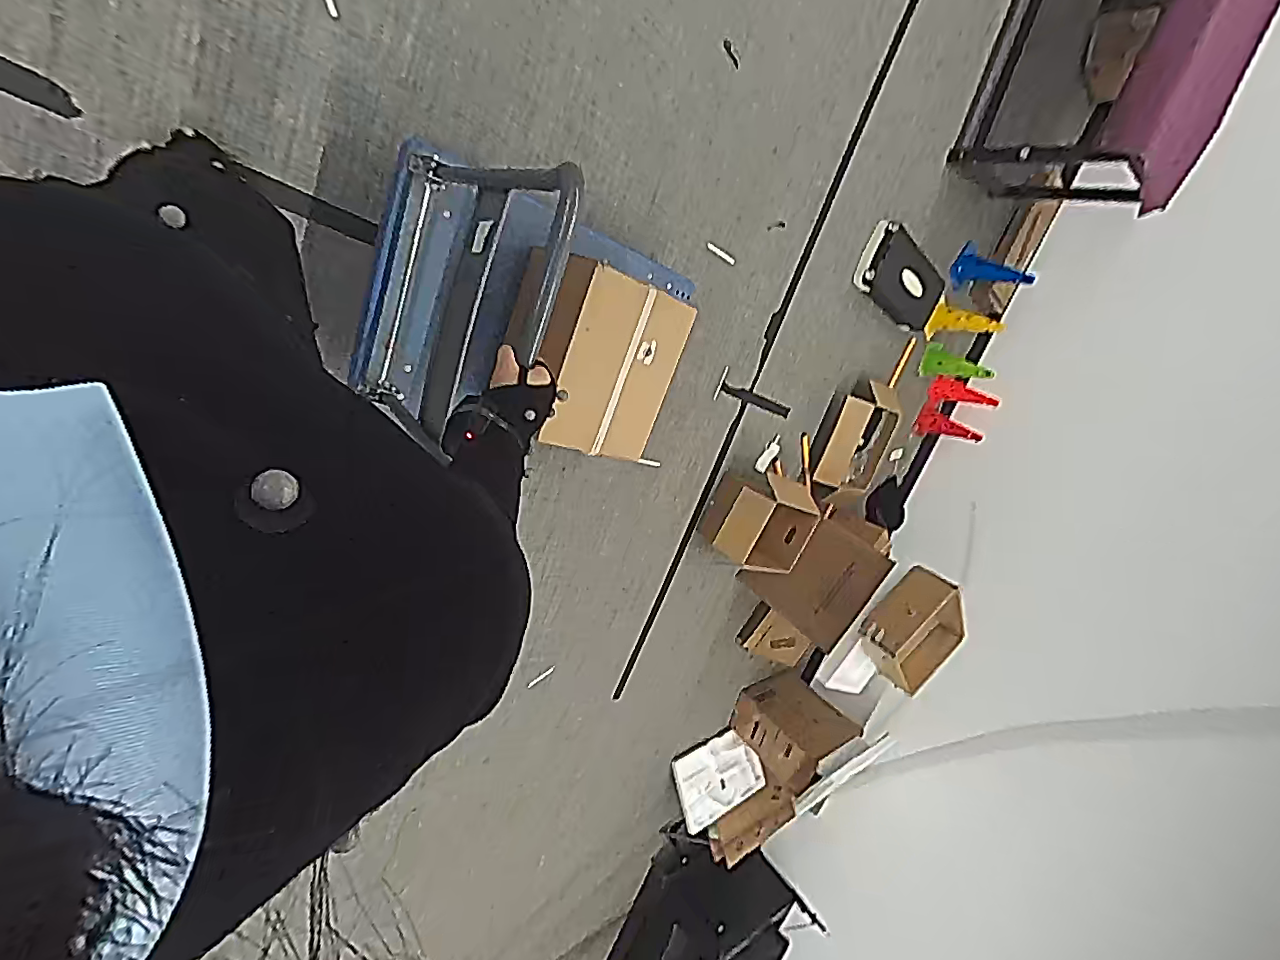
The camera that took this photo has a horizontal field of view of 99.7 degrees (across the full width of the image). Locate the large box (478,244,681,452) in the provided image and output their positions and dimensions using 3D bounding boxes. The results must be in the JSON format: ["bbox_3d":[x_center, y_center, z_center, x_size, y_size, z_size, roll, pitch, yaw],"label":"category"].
[{"bbox_3d":[-0.163,-0.325,1.358,0.320,0.320,0.408,9,107,-43],"label":"large box"}]
